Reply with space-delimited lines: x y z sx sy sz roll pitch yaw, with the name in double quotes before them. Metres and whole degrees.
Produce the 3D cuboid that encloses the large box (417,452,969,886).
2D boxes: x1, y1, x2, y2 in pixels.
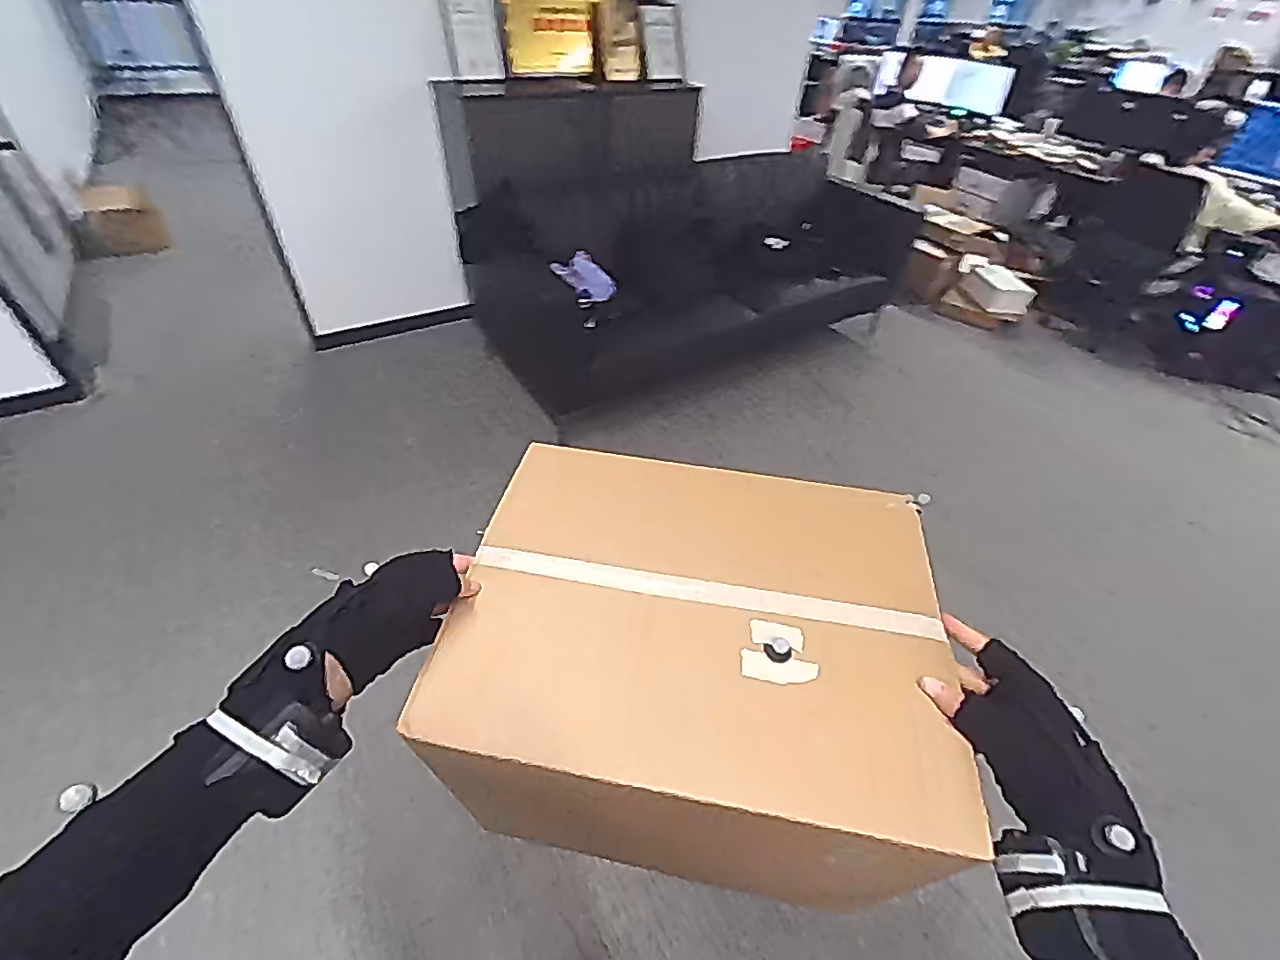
"large box" 0.047 0.201 0.589 0.408 0.320 0.320 7 48 6
